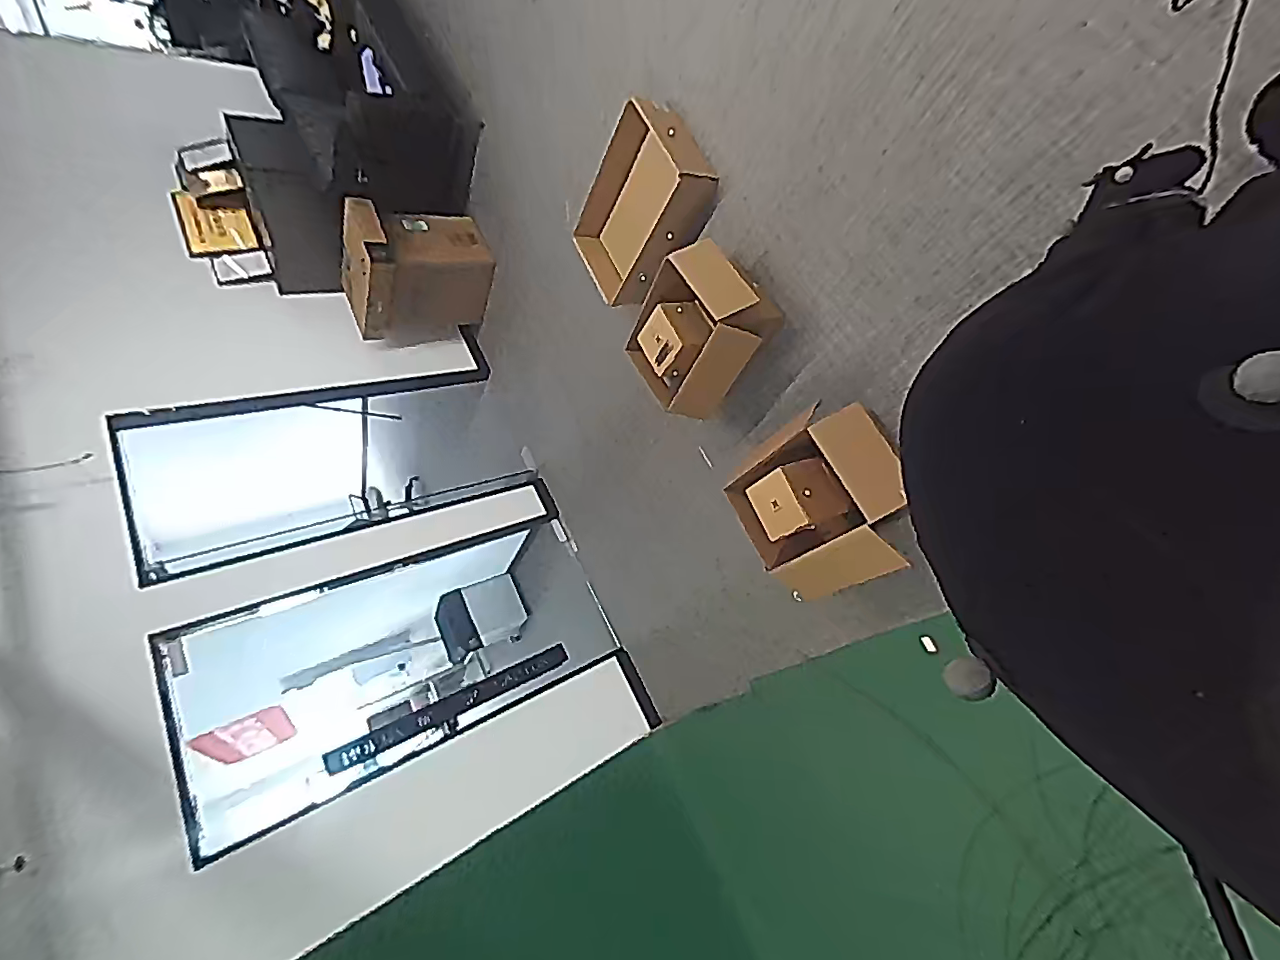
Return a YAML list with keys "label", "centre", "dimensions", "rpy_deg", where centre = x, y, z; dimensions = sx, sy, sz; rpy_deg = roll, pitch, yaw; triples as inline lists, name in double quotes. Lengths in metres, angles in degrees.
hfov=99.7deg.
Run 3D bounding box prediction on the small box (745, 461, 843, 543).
- label: "small box"
  centre: [0.448, 0.058, 1.574]
  dimensions: [0.168, 0.176, 0.179]
  rpy_deg: [-44, 67, 52]
